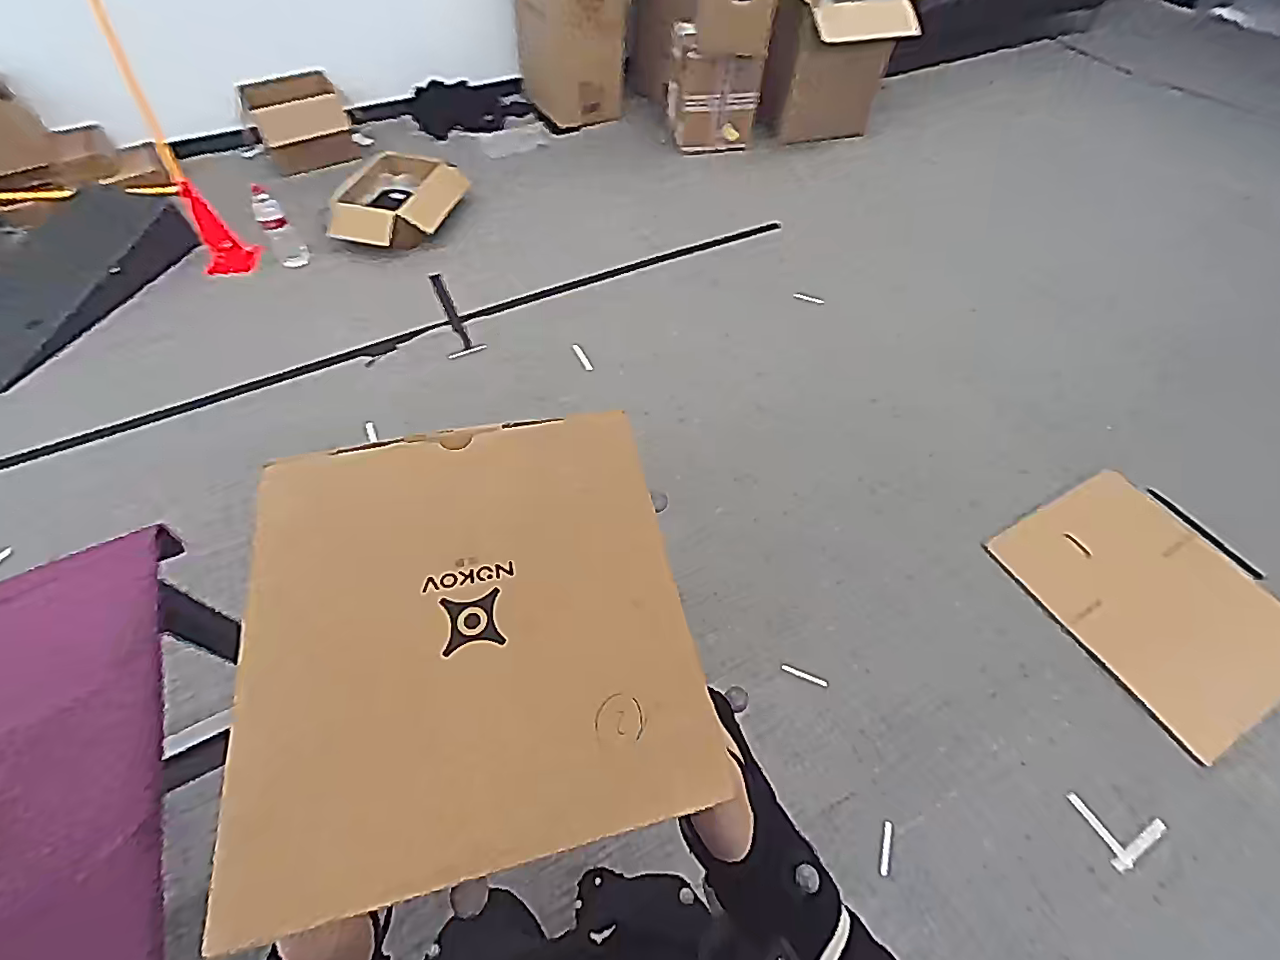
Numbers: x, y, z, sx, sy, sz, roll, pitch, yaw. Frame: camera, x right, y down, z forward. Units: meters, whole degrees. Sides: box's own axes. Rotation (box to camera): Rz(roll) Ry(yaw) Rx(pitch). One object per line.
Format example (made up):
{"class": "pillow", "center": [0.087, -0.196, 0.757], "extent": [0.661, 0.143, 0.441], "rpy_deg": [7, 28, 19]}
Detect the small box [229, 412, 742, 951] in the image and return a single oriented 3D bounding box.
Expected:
{"class": "small box", "center": [-0.066, 0.092, 0.279], "extent": [0.168, 0.176, 0.179], "rpy_deg": [-9, 60, -11]}
